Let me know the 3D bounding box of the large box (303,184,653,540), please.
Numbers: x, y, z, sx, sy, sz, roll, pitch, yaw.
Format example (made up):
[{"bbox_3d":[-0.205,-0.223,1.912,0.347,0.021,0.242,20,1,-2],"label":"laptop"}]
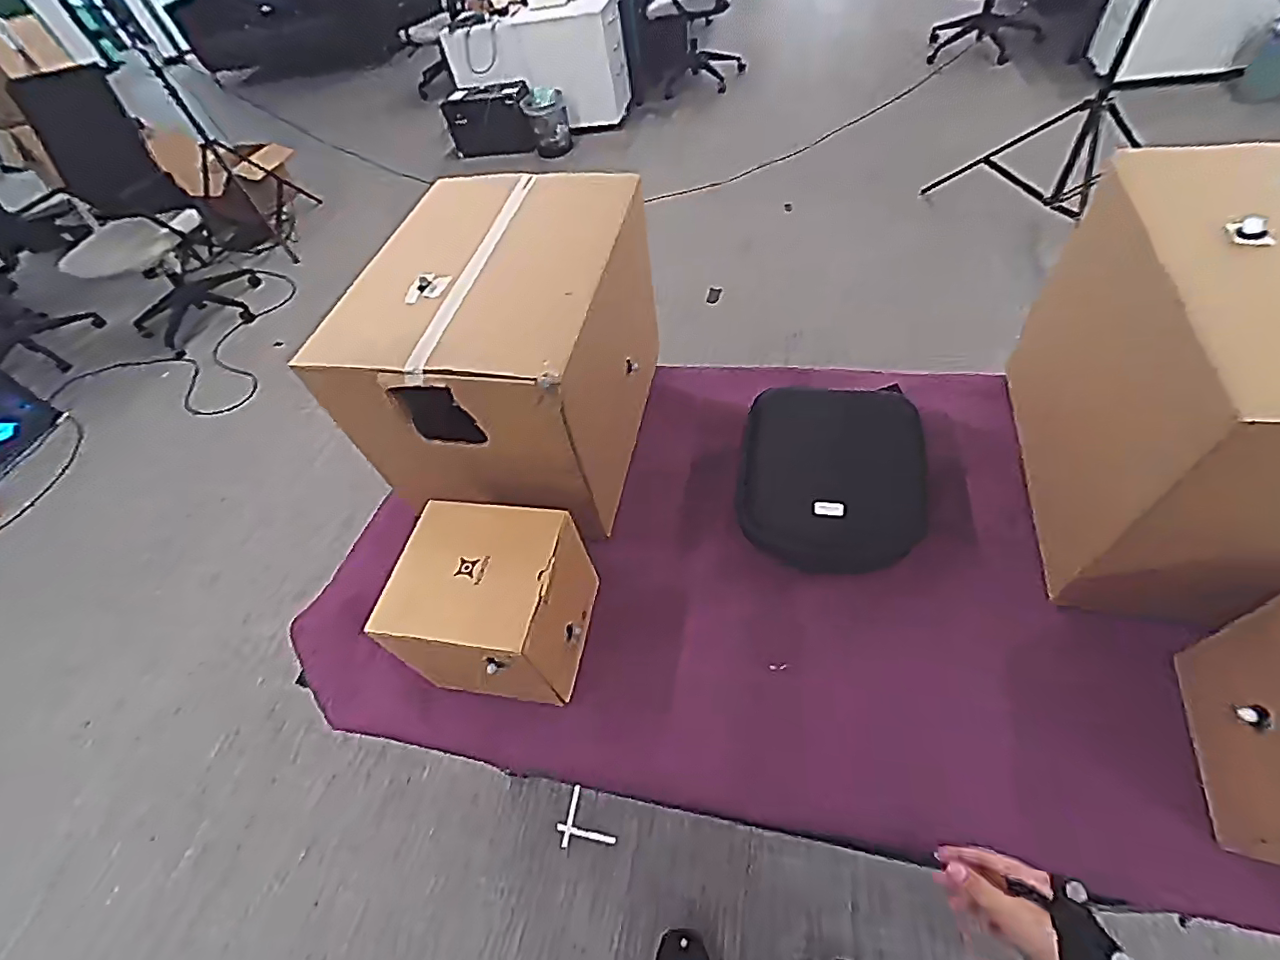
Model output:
[{"bbox_3d":[-0.169,-0.172,0.785,0.320,0.320,0.408,5,56,12],"label":"large box"}]

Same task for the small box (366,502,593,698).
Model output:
[{"bbox_3d":[-0.169,0.143,0.636,0.179,0.176,0.168,3,53,12],"label":"small box"}]
